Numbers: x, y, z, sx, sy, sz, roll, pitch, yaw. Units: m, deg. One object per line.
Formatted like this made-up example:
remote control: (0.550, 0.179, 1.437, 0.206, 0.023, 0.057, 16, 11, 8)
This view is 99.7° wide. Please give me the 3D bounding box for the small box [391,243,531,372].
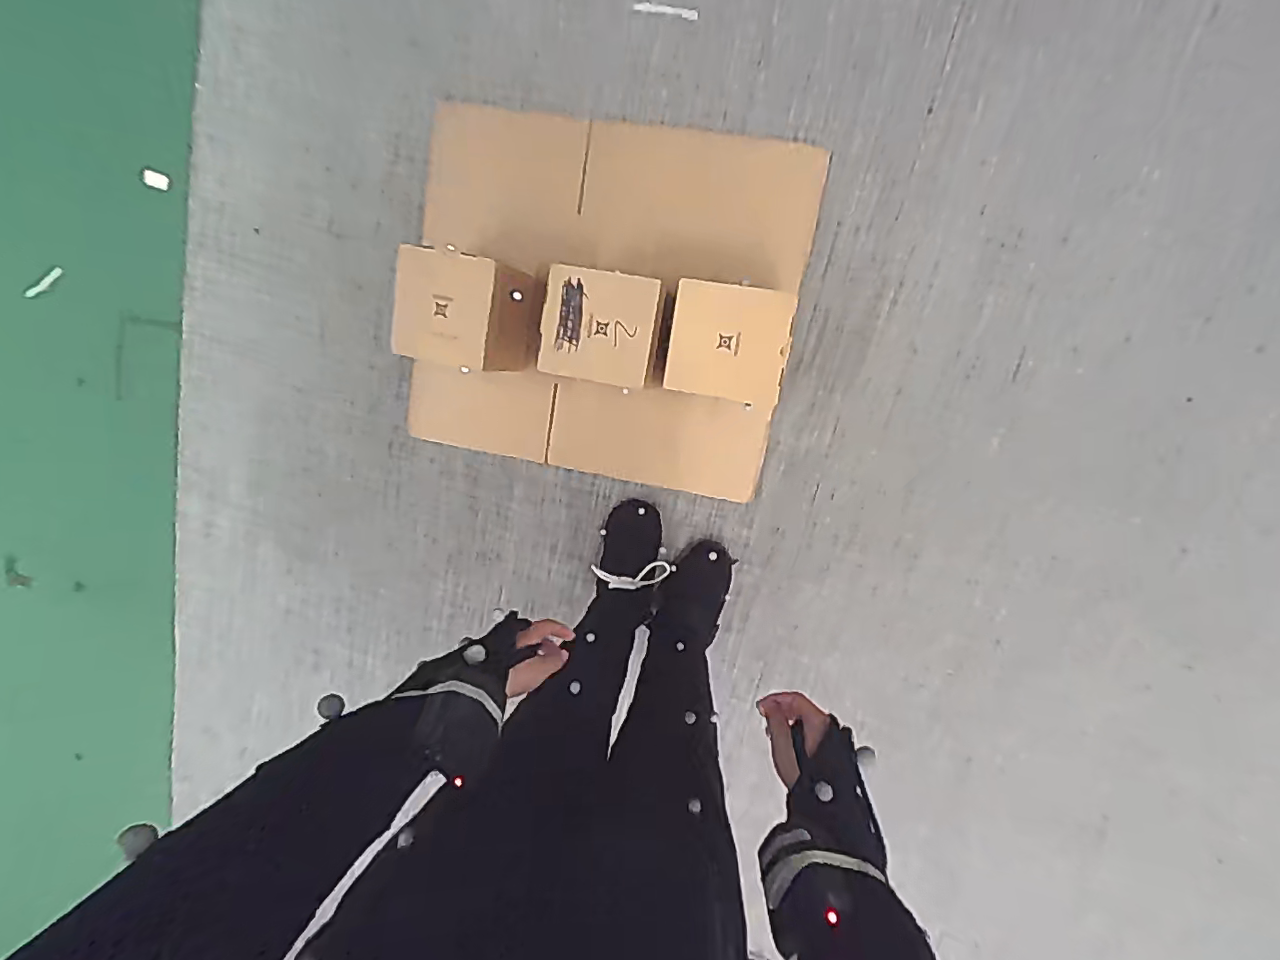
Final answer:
small box: (-0.299, -0.287, 0.931, 0.168, 0.176, 0.179, 12, 103, 8)
